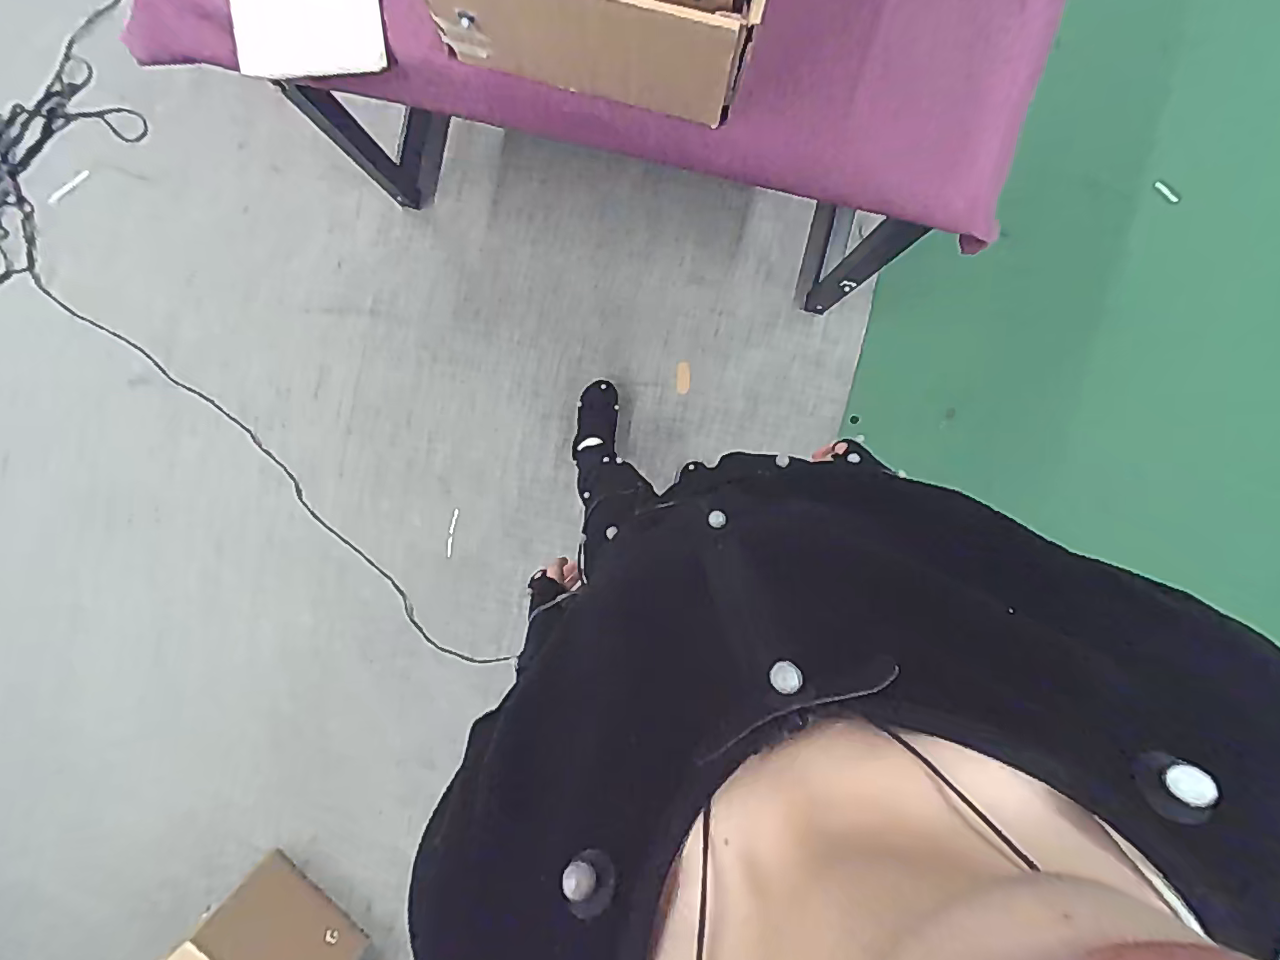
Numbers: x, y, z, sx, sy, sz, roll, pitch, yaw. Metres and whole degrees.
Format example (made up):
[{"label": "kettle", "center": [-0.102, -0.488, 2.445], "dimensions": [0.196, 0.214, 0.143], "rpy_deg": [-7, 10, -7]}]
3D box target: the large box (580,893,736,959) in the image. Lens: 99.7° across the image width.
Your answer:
[{"label": "large box", "center": [0.050, 1.379, 1.446], "dimensions": [0.408, 0.320, 0.320], "rpy_deg": [-2, 95, -1]}]
